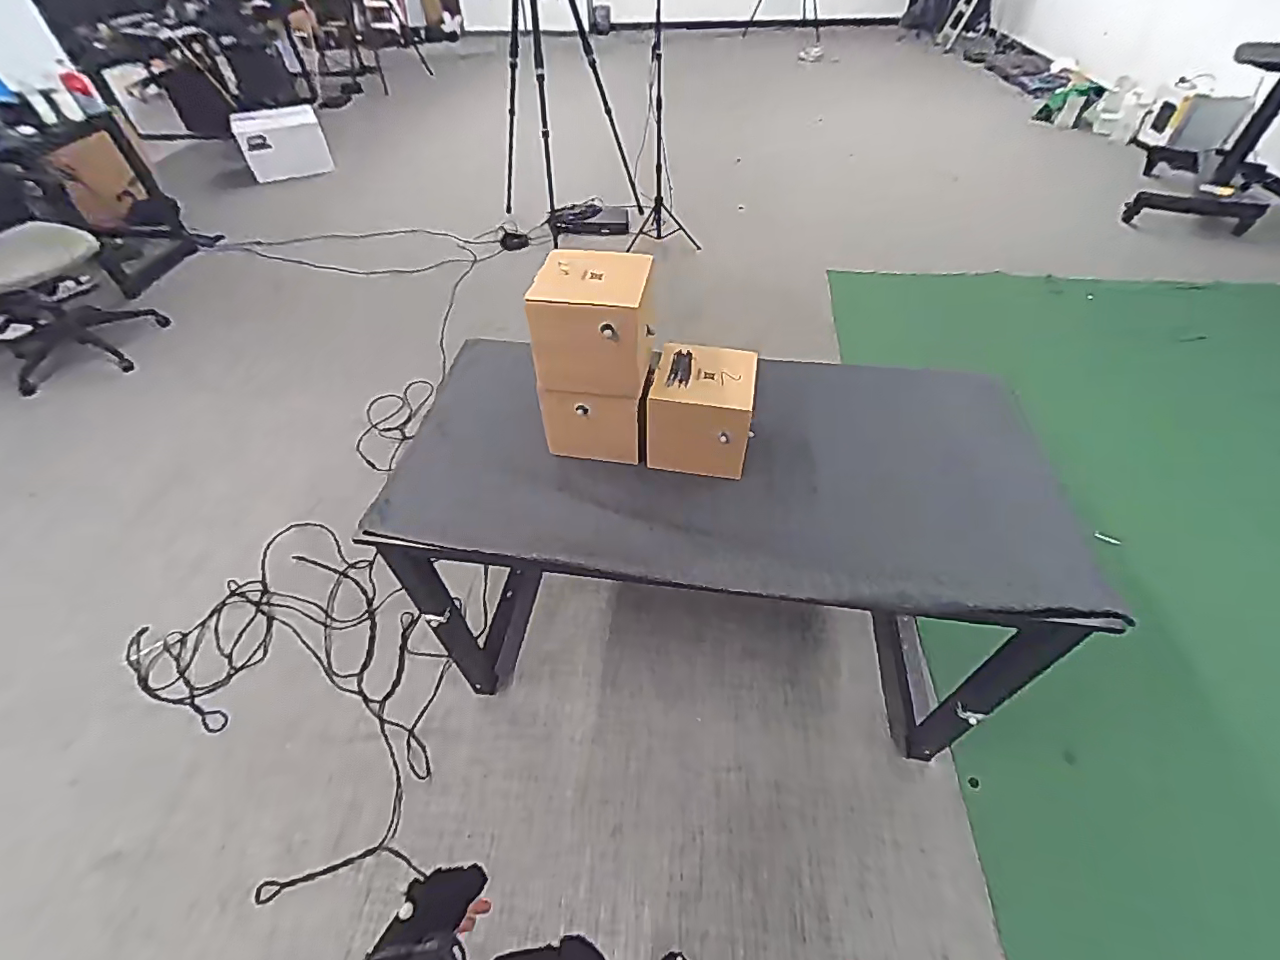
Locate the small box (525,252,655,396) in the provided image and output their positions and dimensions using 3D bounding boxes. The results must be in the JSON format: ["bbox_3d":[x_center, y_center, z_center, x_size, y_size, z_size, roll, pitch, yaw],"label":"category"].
[{"bbox_3d":[-0.074,-0.258,0.907,0.179,0.176,0.168,7,48,6],"label":"small box"}]
